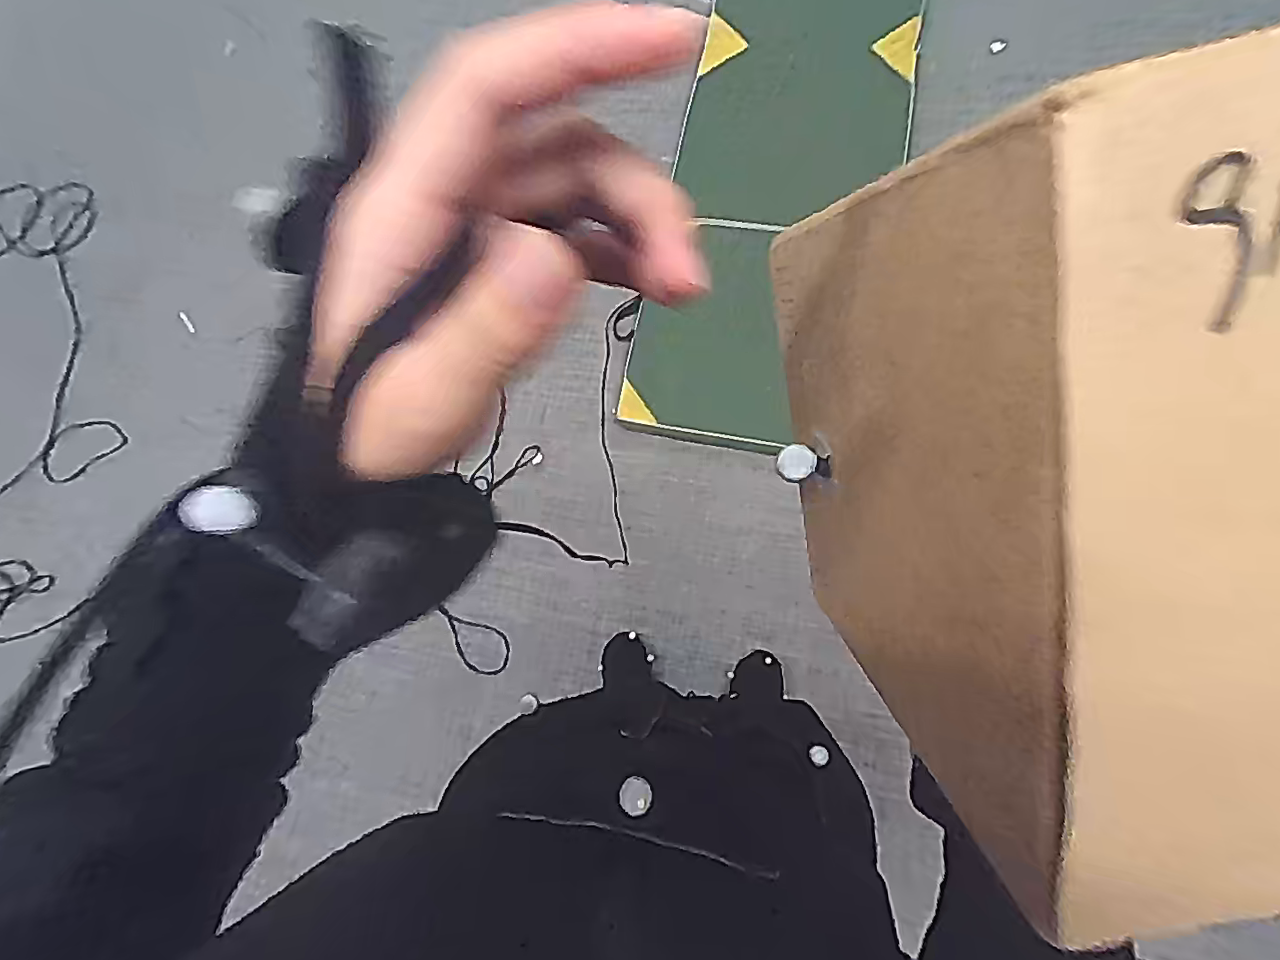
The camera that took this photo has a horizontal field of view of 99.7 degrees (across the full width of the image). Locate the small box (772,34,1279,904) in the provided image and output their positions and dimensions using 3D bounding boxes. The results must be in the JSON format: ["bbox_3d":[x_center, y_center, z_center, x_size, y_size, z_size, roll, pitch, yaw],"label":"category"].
[{"bbox_3d":[0.154,-0.019,0.178,0.168,0.176,0.179,-13,108,1],"label":"small box"}]
